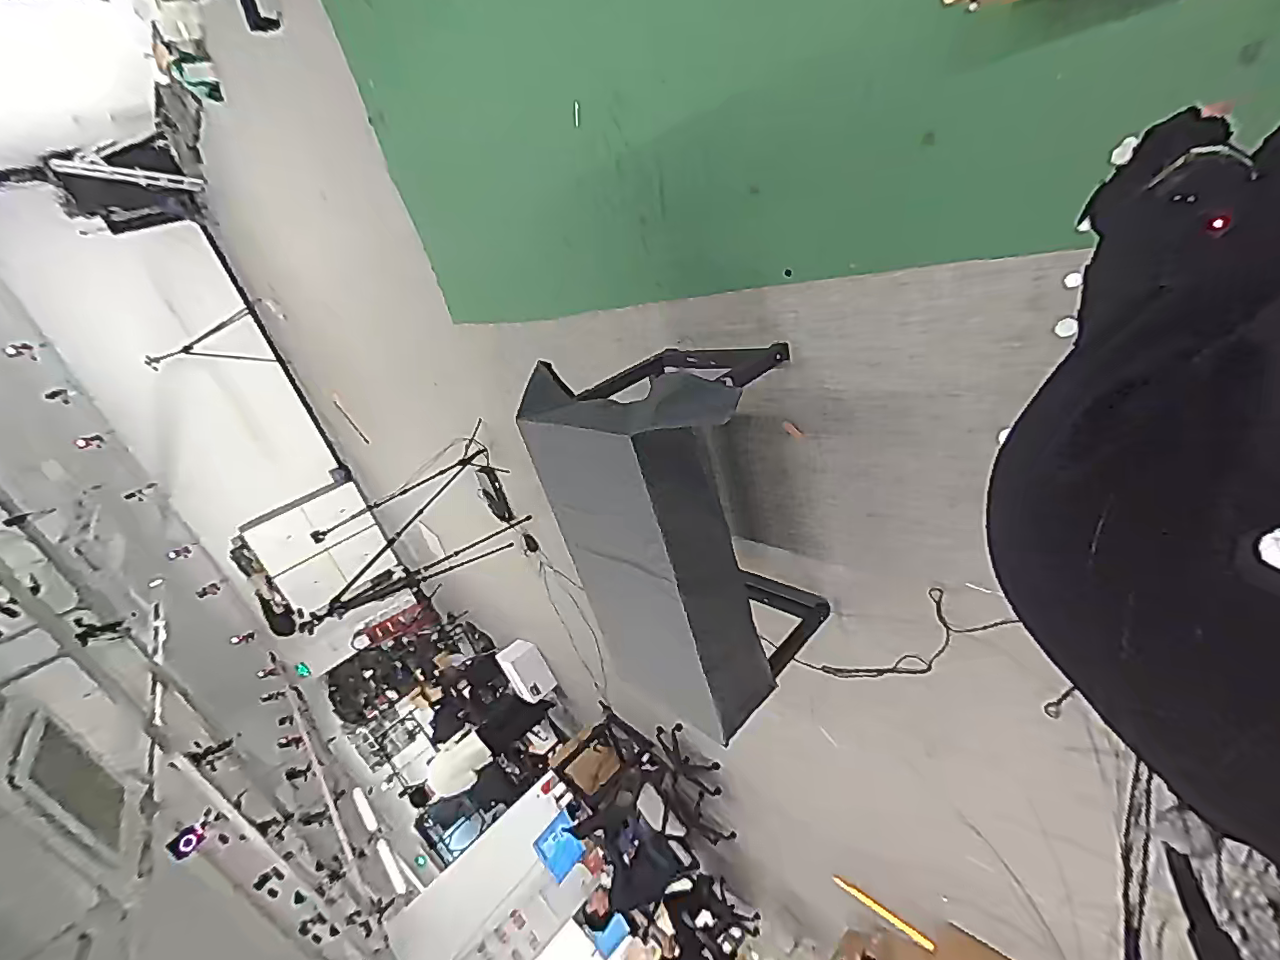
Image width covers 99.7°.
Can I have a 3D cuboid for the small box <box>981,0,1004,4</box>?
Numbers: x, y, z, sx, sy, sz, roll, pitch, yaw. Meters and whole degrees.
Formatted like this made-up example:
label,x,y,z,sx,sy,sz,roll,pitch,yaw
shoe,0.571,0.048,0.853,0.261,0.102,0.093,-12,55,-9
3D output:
label,x,y,z,sx,sy,sz,roll,pitch,yaw
small box,0.699,-0.940,0.906,0.168,0.176,0.179,18,132,45
